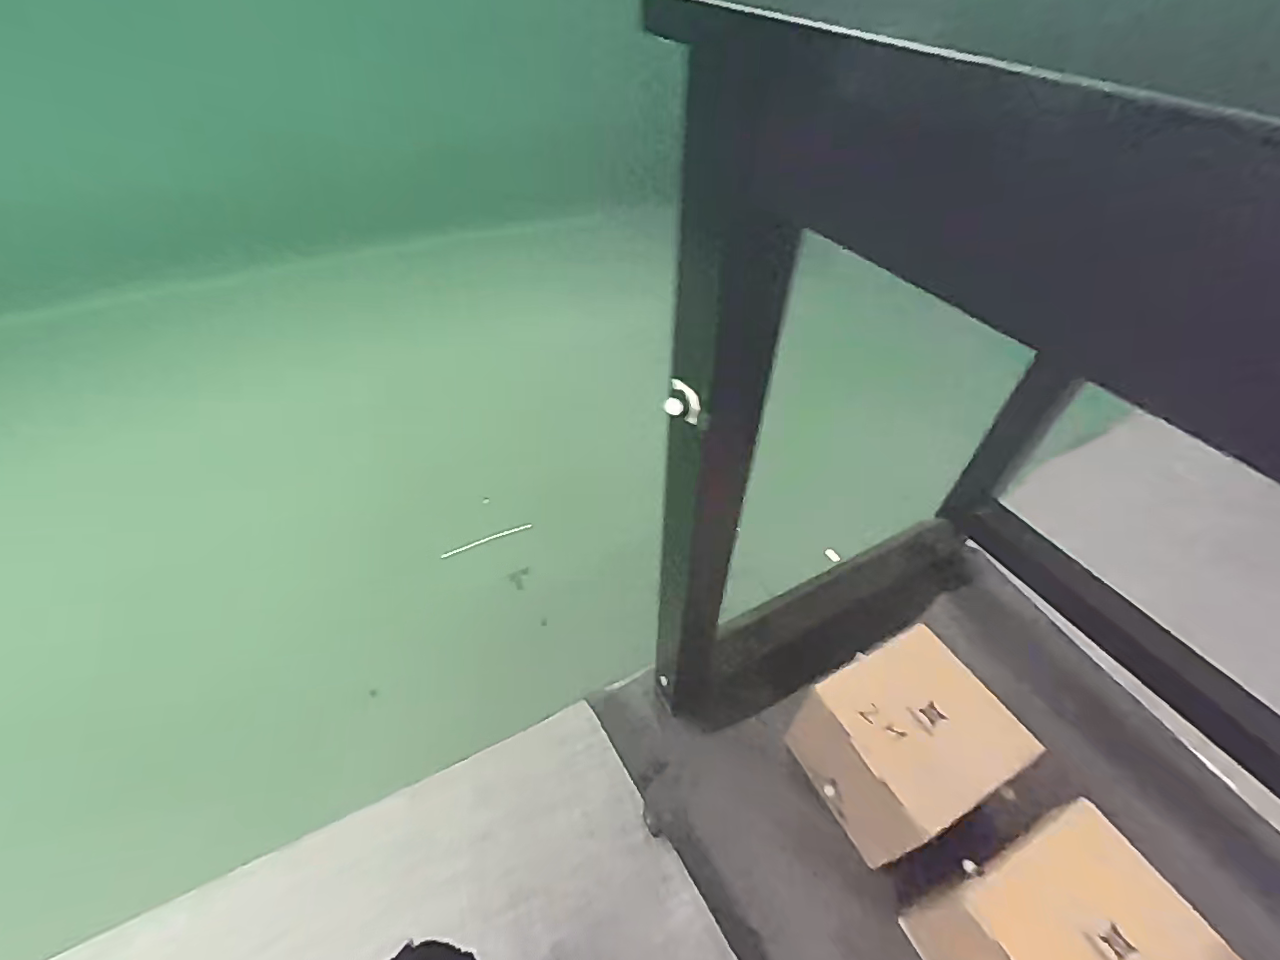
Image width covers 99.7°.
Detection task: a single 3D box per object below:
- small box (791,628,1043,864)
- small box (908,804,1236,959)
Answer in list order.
[{"bbox_3d":[0.308,0.314,0.641,0.179,0.176,0.168,-21,50,-19],"label":"small box"},{"bbox_3d":[0.398,0.451,0.515,0.179,0.176,0.168,-20,50,-19],"label":"small box"}]
